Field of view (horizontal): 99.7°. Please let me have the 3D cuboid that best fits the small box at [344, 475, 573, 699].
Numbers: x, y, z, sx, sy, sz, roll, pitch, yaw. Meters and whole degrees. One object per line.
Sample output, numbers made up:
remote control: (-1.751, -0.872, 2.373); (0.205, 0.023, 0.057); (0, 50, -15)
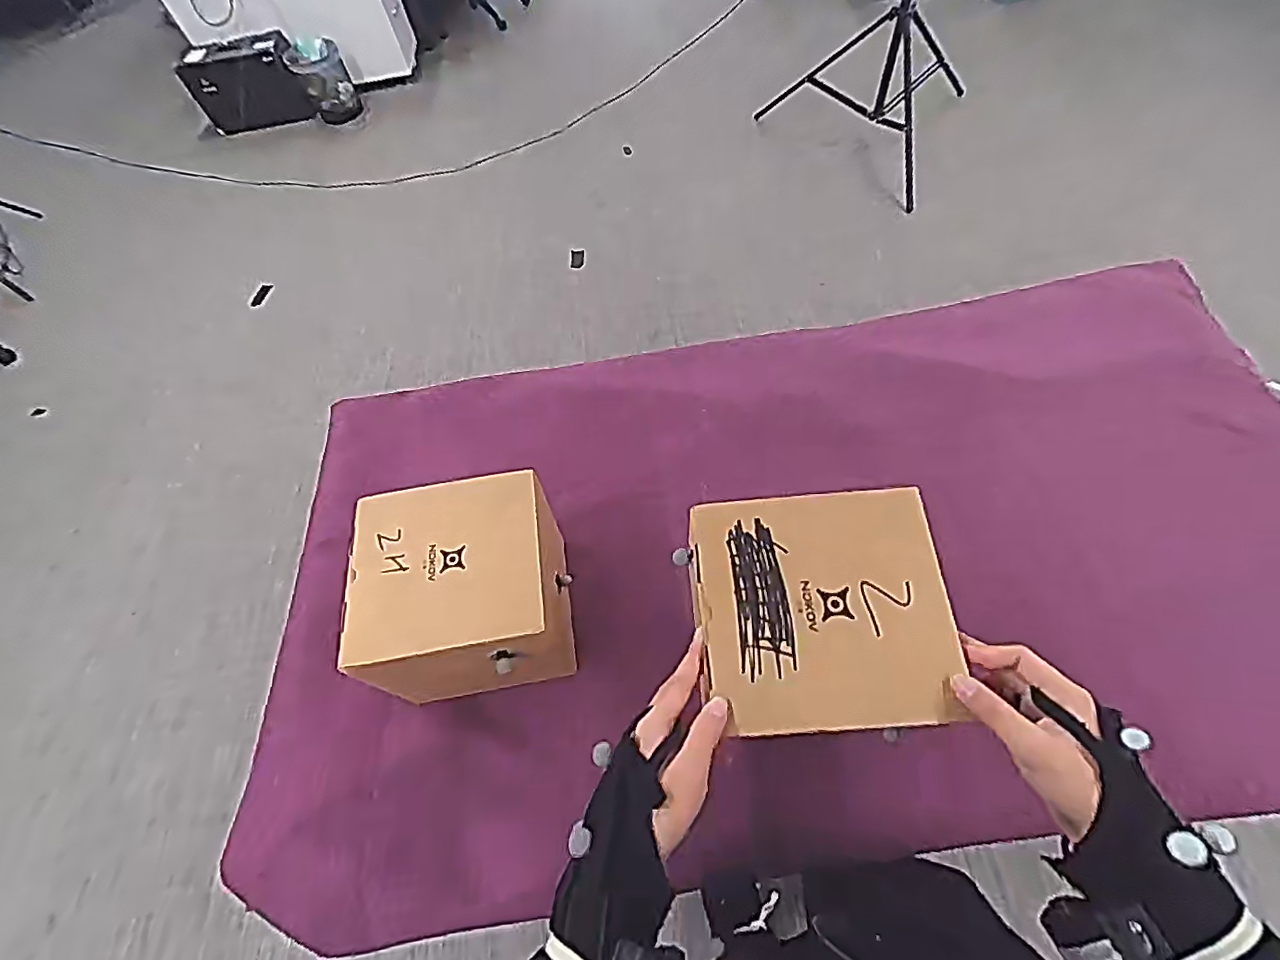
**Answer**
small box: (-0.169, 0.117, 0.561); (0.179, 0.176, 0.168); (-10, 58, -1)
